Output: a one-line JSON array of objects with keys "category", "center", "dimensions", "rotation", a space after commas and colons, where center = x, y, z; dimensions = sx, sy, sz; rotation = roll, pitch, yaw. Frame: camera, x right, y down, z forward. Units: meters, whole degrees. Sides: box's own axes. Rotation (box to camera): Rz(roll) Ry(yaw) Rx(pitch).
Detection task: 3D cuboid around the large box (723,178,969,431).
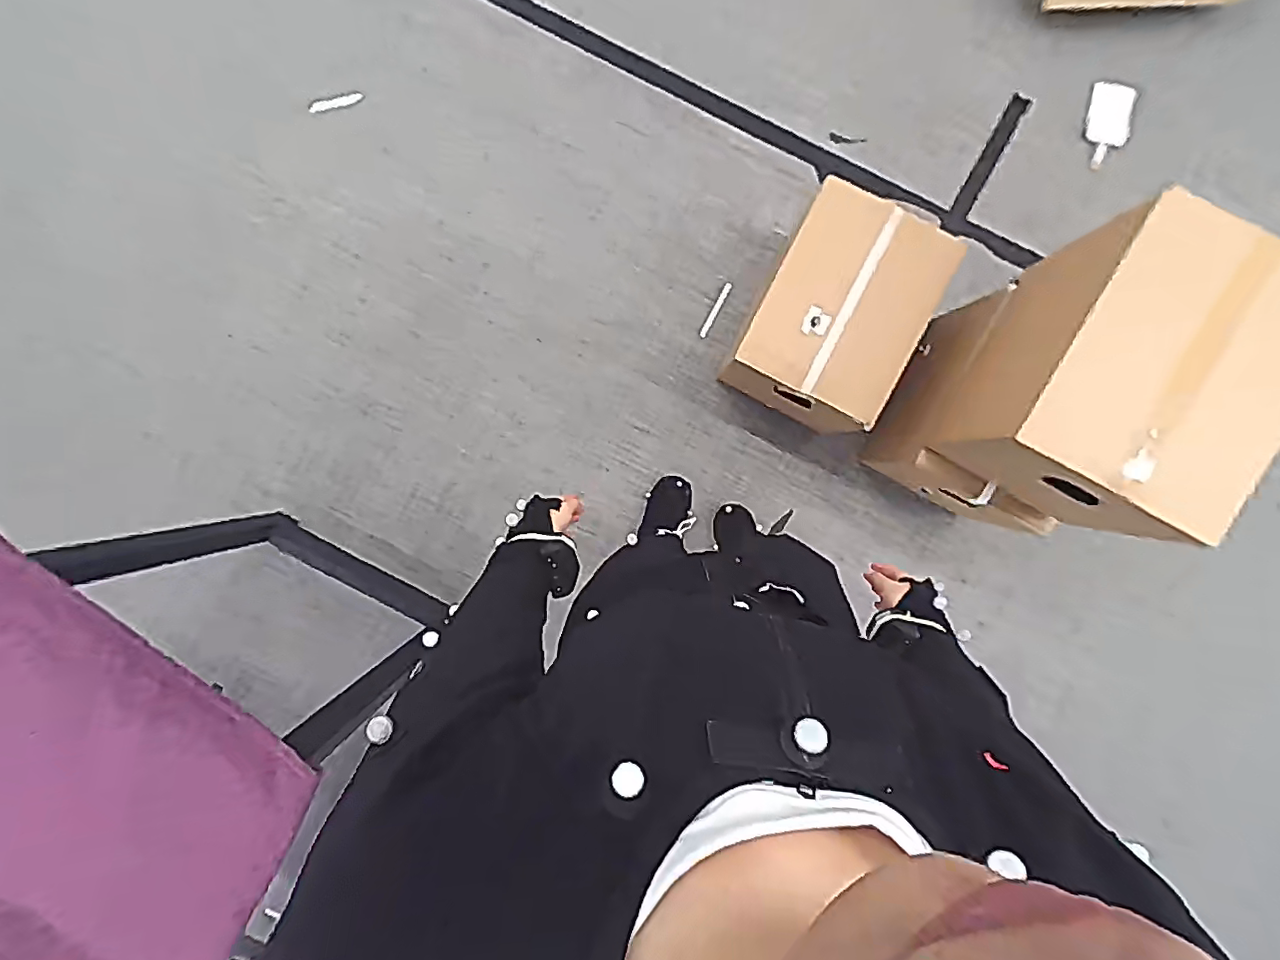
[{"category": "large box", "center": [0.424, -0.356, 1.208], "dimensions": [0.320, 0.320, 0.408], "rotation": [27, 94, 0]}]
